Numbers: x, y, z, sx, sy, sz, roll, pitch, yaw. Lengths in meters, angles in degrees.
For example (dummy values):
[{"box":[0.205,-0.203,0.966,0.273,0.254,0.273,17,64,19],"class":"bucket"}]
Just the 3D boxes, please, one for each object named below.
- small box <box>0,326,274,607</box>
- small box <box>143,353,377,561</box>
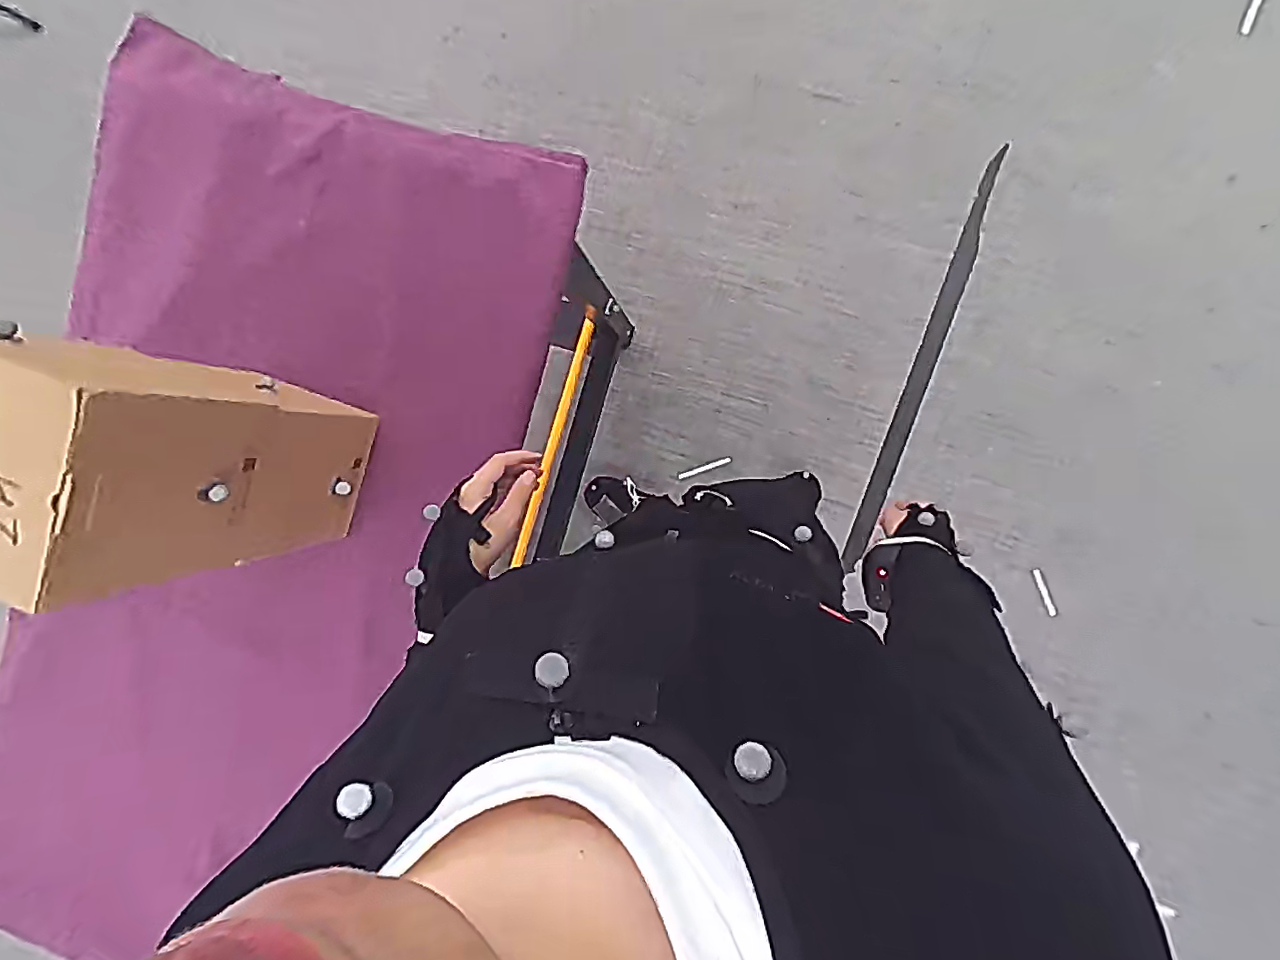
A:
[{"box":[-0.459,-0.021,0.448,0.179,0.176,0.168,19,96,4],"class":"small box"},{"box":[-0.442,-0.027,0.612,0.179,0.176,0.168,19,96,4],"class":"small box"}]
